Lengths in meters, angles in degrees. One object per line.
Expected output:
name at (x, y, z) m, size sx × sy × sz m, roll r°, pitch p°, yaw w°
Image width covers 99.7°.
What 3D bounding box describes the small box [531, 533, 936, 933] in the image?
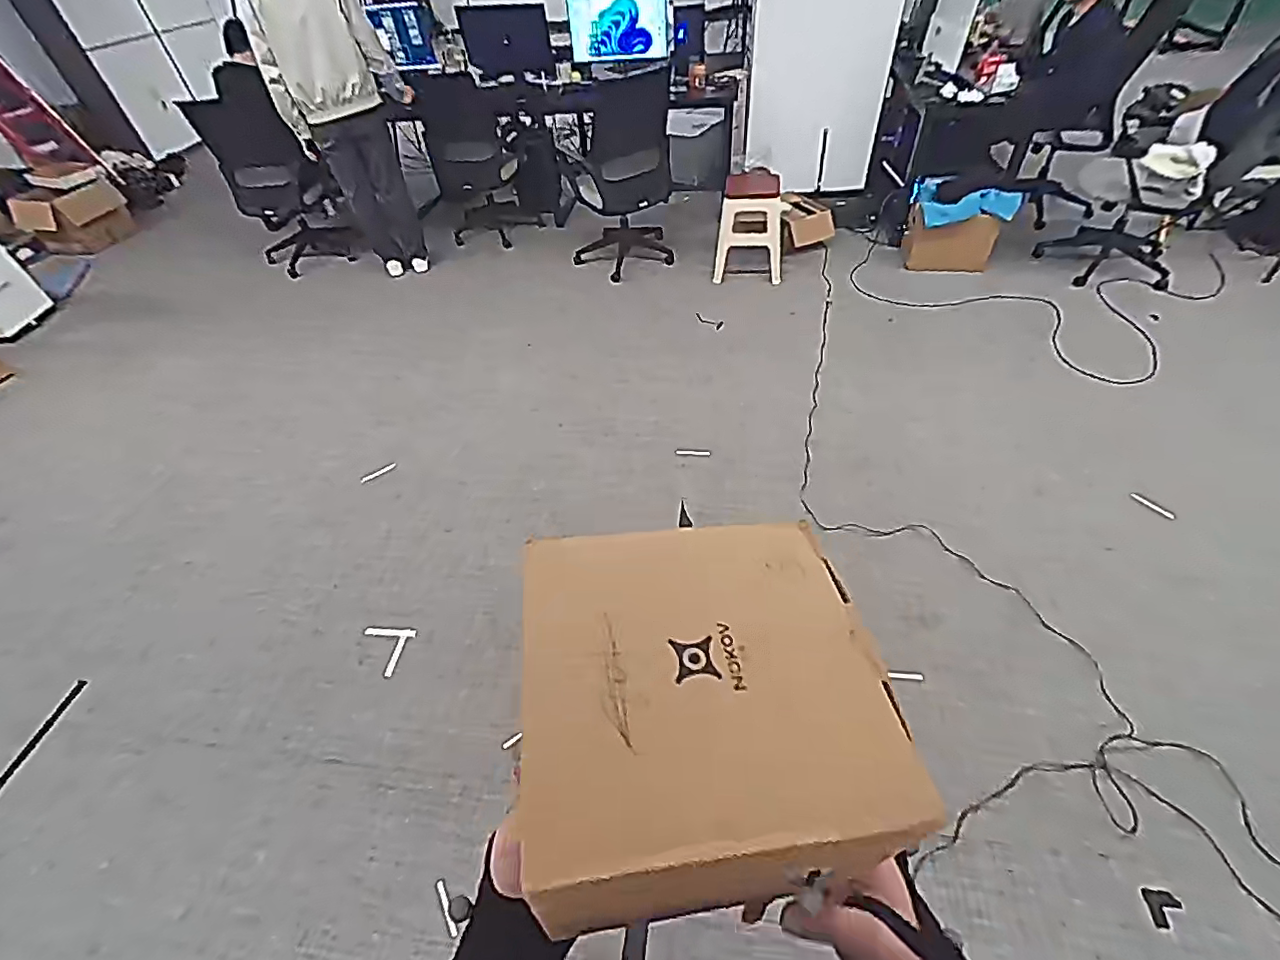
small box at (0.027, 0.152, 0.330) m, size 0.179 × 0.176 × 0.168 m, roll -4°, pitch 46°, yaw -8°
